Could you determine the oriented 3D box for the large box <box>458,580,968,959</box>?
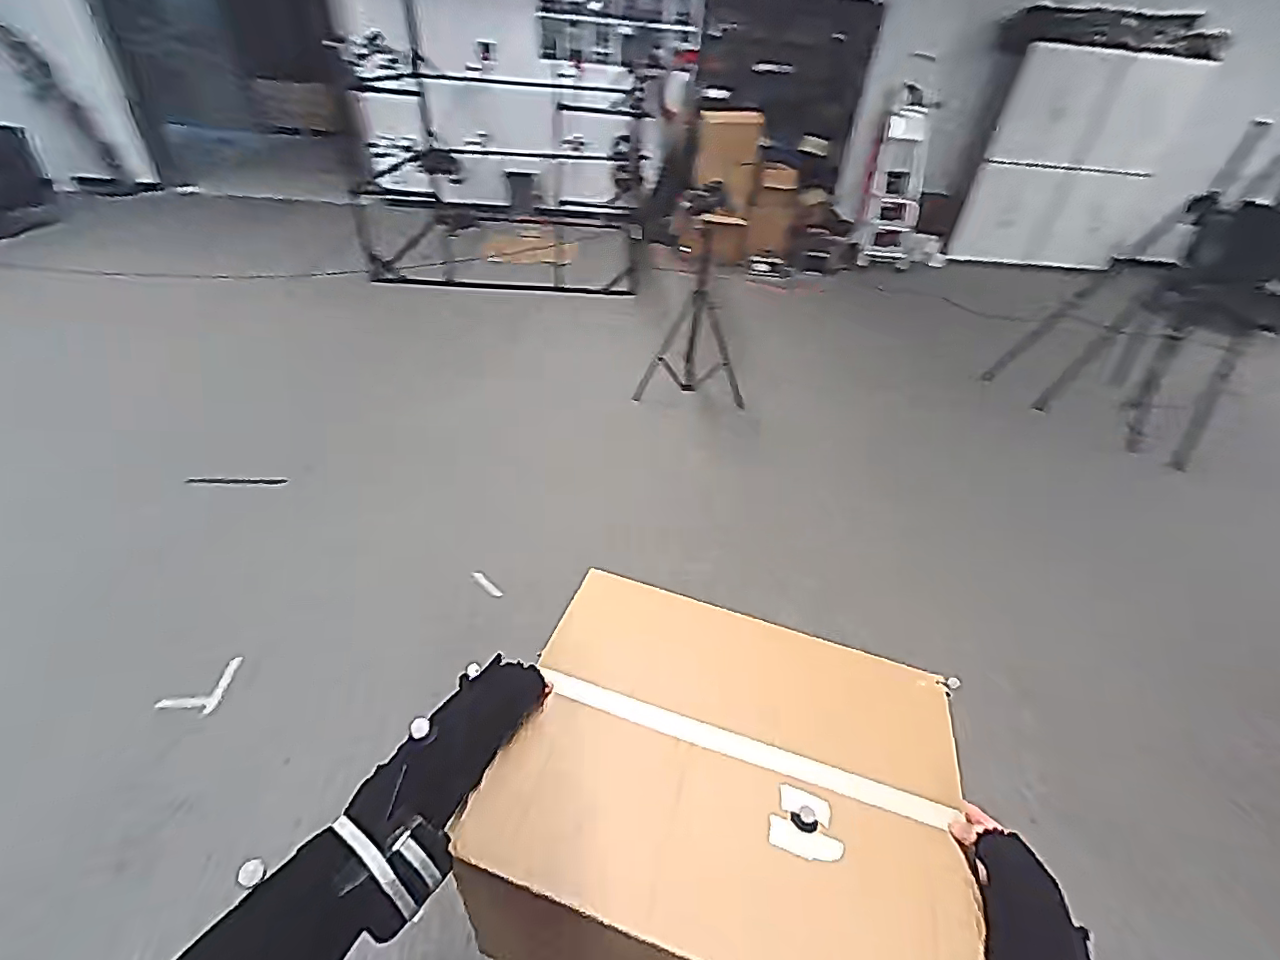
[{"bbox_3d":[0.066,0.370,0.600,0.408,0.320,0.320,15,38,10],"label":"large box"}]
